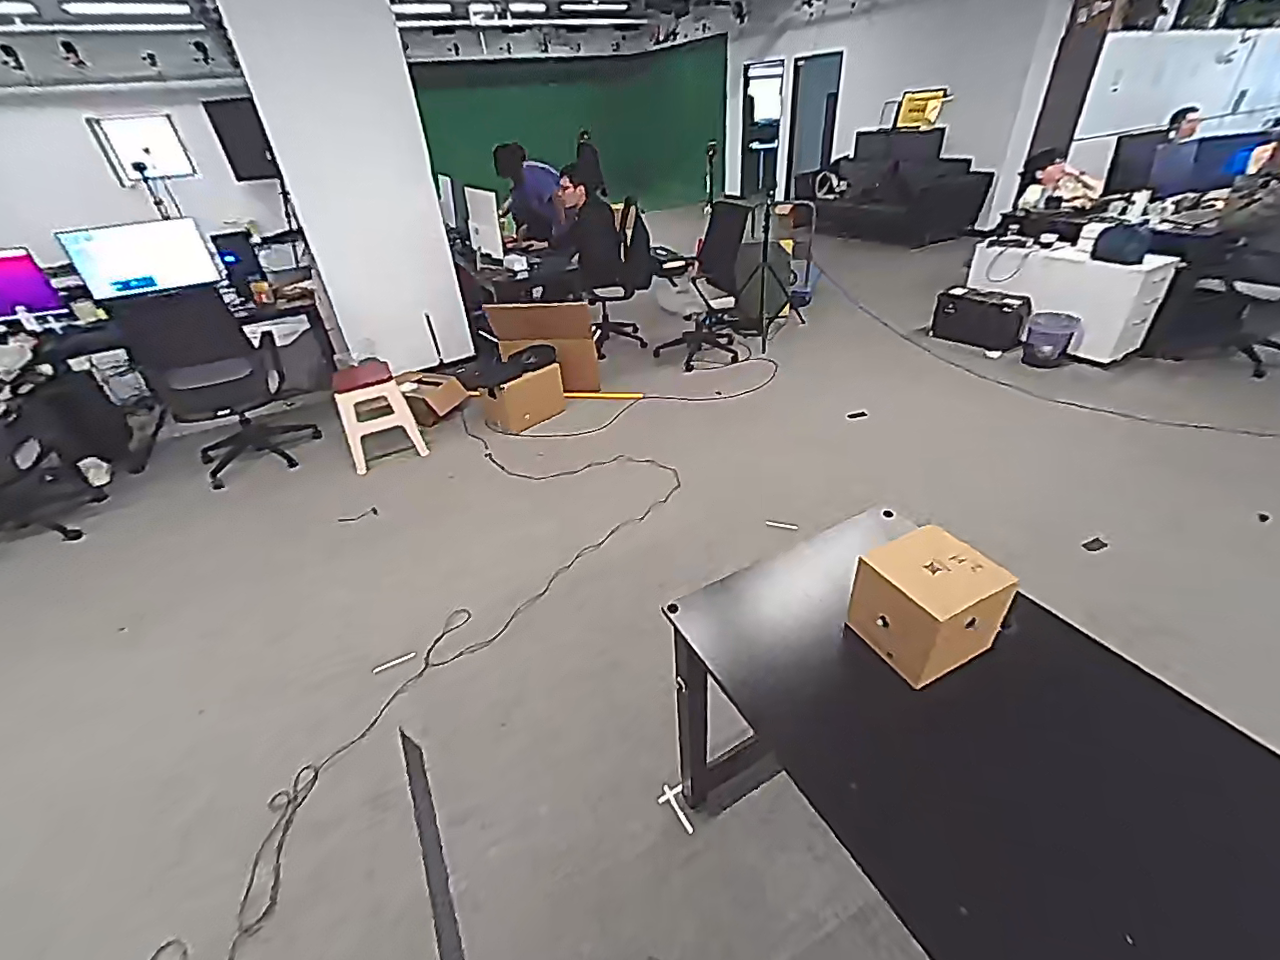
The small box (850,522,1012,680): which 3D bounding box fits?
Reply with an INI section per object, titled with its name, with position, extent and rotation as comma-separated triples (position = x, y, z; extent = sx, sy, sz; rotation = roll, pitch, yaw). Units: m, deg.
[small box]
position = 0.481, 0.205, 0.922
extent = 0.179, 0.176, 0.168
rotation = -19, 36, -19
